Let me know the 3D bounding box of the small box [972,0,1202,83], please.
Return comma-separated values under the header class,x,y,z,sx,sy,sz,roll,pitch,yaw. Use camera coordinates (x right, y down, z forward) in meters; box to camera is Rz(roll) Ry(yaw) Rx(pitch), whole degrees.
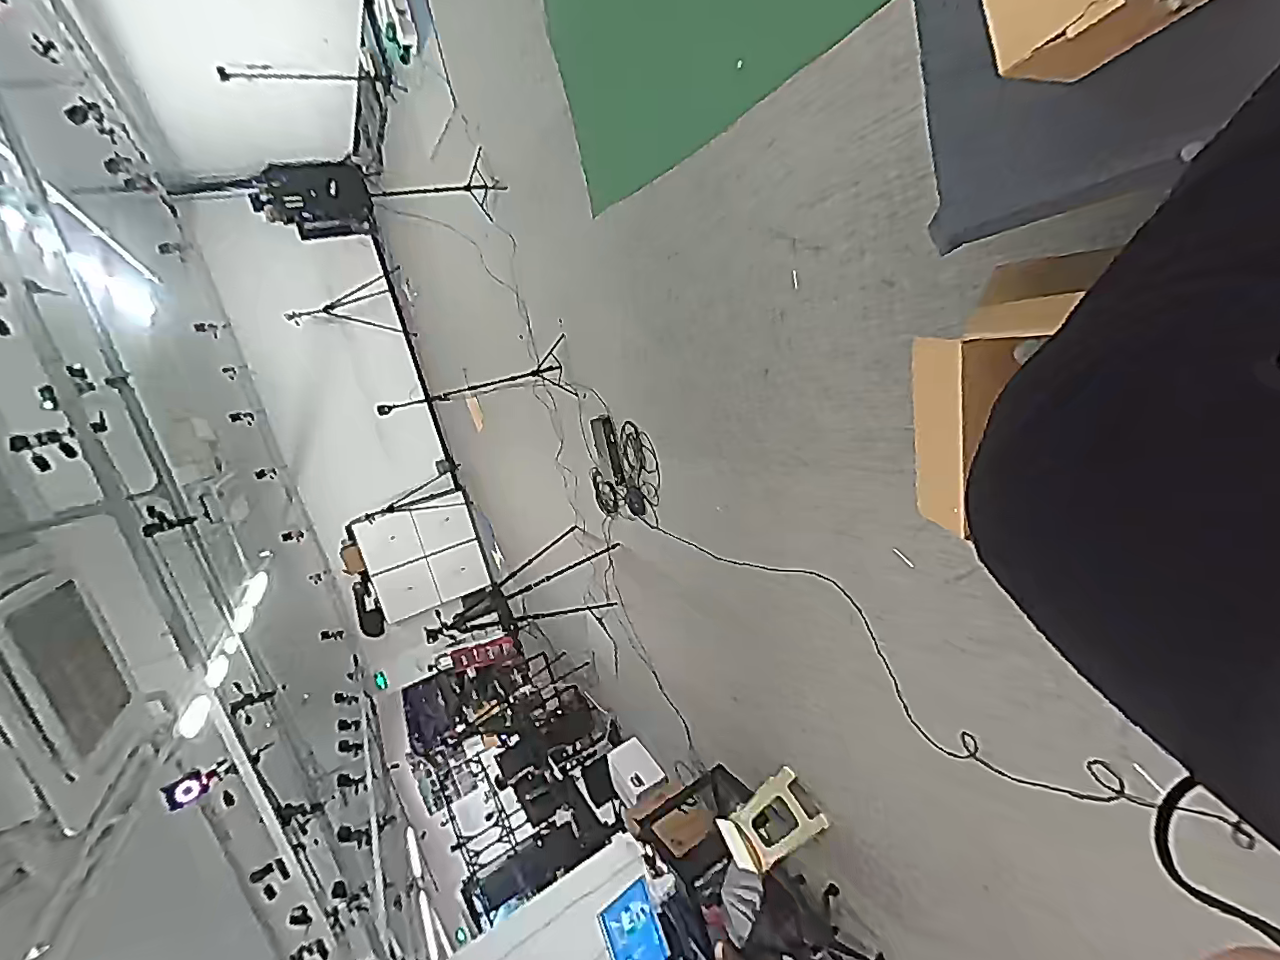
class,x,y,z,sx,sy,sz,roll,pitch,yaw
small box,0.457,-0.536,0.536,0.168,0.176,0.179,-9,98,61
